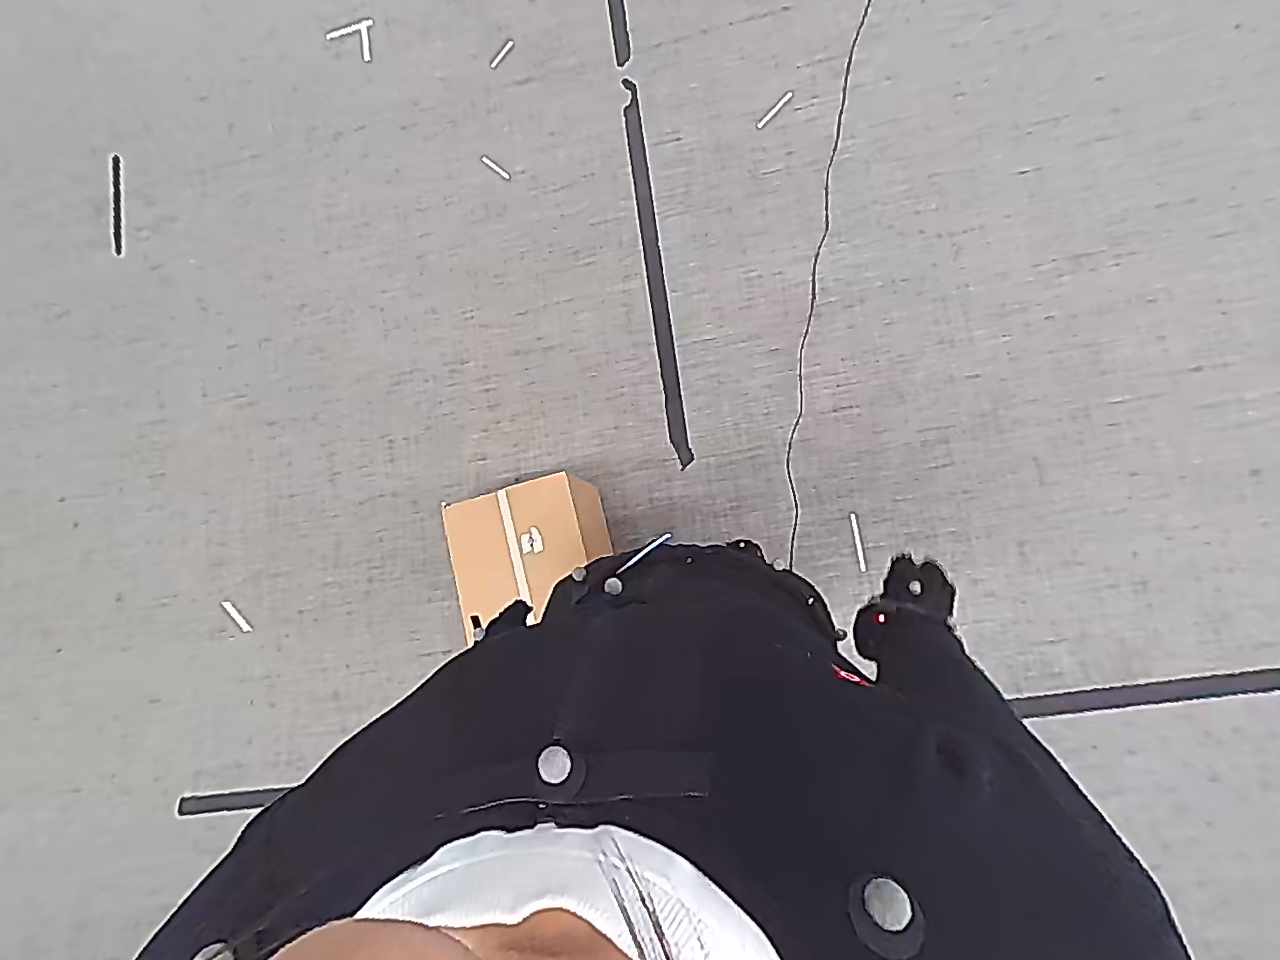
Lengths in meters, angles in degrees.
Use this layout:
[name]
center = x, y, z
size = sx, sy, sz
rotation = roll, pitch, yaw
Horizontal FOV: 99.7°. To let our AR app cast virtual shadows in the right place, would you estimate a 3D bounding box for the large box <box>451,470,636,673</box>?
[large box]
center = -0.228, 0.227, 1.370
size = 0.320, 0.320, 0.408
rotation = -16, 79, 7
